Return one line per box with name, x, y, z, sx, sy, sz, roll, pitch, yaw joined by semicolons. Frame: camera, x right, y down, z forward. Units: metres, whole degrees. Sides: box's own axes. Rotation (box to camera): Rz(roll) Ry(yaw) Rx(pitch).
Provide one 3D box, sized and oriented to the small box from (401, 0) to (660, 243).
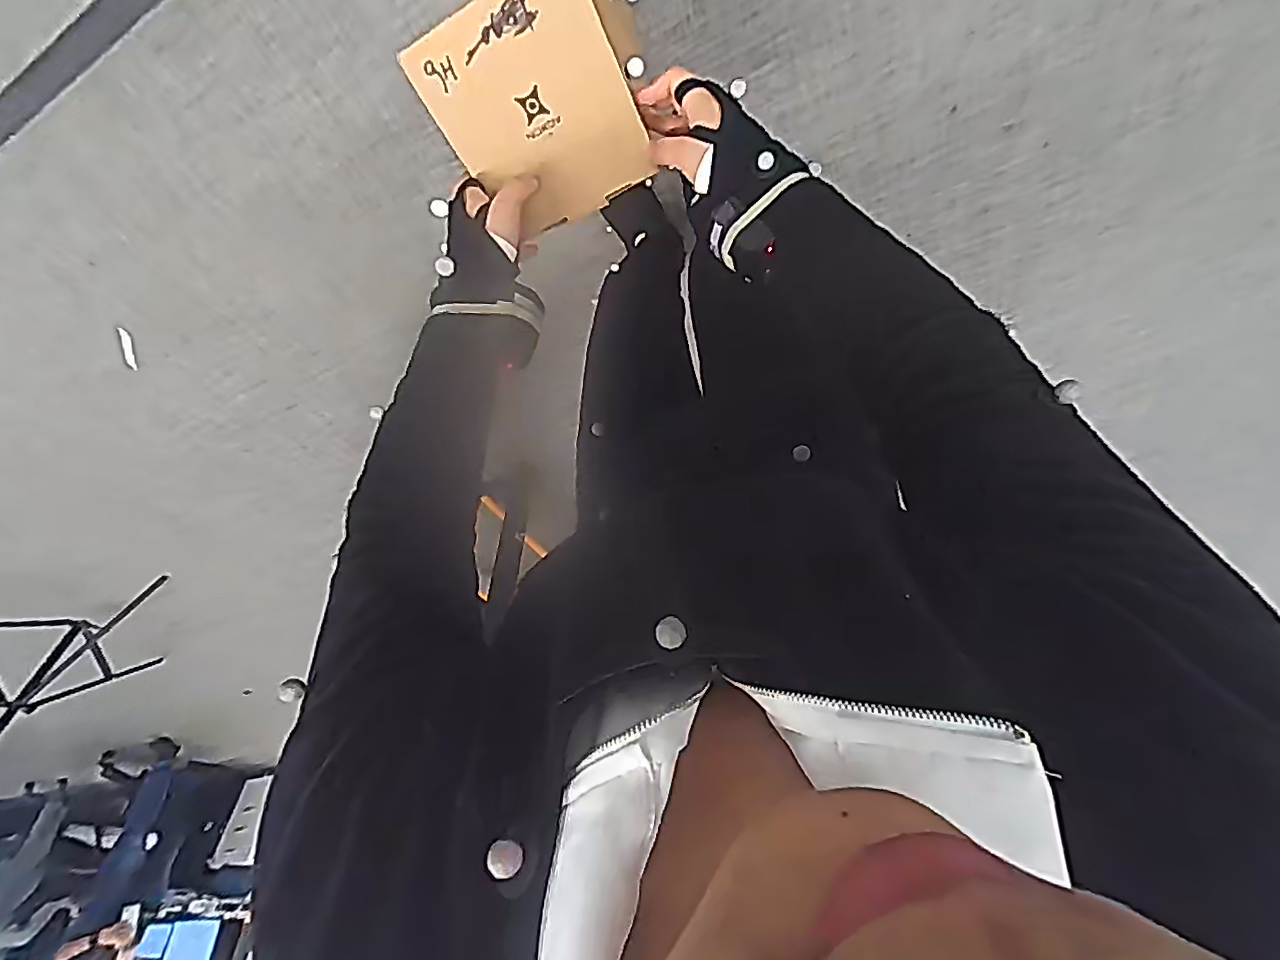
small box;-0.087;-0.376;0.527;0.168;0.176;0.179;-18;135;19
